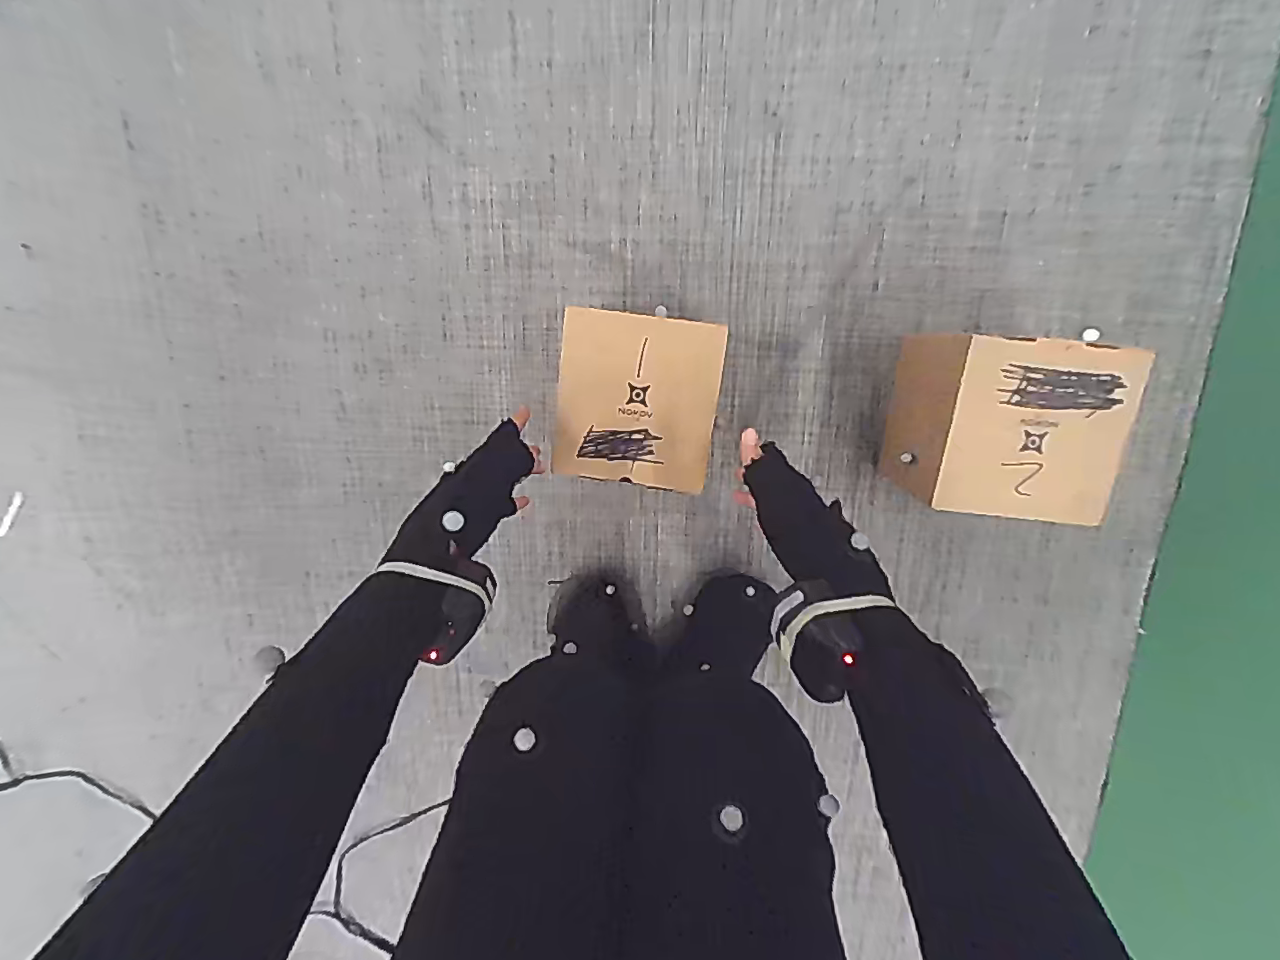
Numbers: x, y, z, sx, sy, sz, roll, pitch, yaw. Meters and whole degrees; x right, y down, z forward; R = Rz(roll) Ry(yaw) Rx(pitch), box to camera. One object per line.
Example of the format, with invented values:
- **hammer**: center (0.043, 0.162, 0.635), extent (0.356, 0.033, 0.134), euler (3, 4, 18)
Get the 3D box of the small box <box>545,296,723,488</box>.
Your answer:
- **small box**: center (-0.002, -0.105, 0.626), extent (0.168, 0.176, 0.179), euler (8, 104, 3)
